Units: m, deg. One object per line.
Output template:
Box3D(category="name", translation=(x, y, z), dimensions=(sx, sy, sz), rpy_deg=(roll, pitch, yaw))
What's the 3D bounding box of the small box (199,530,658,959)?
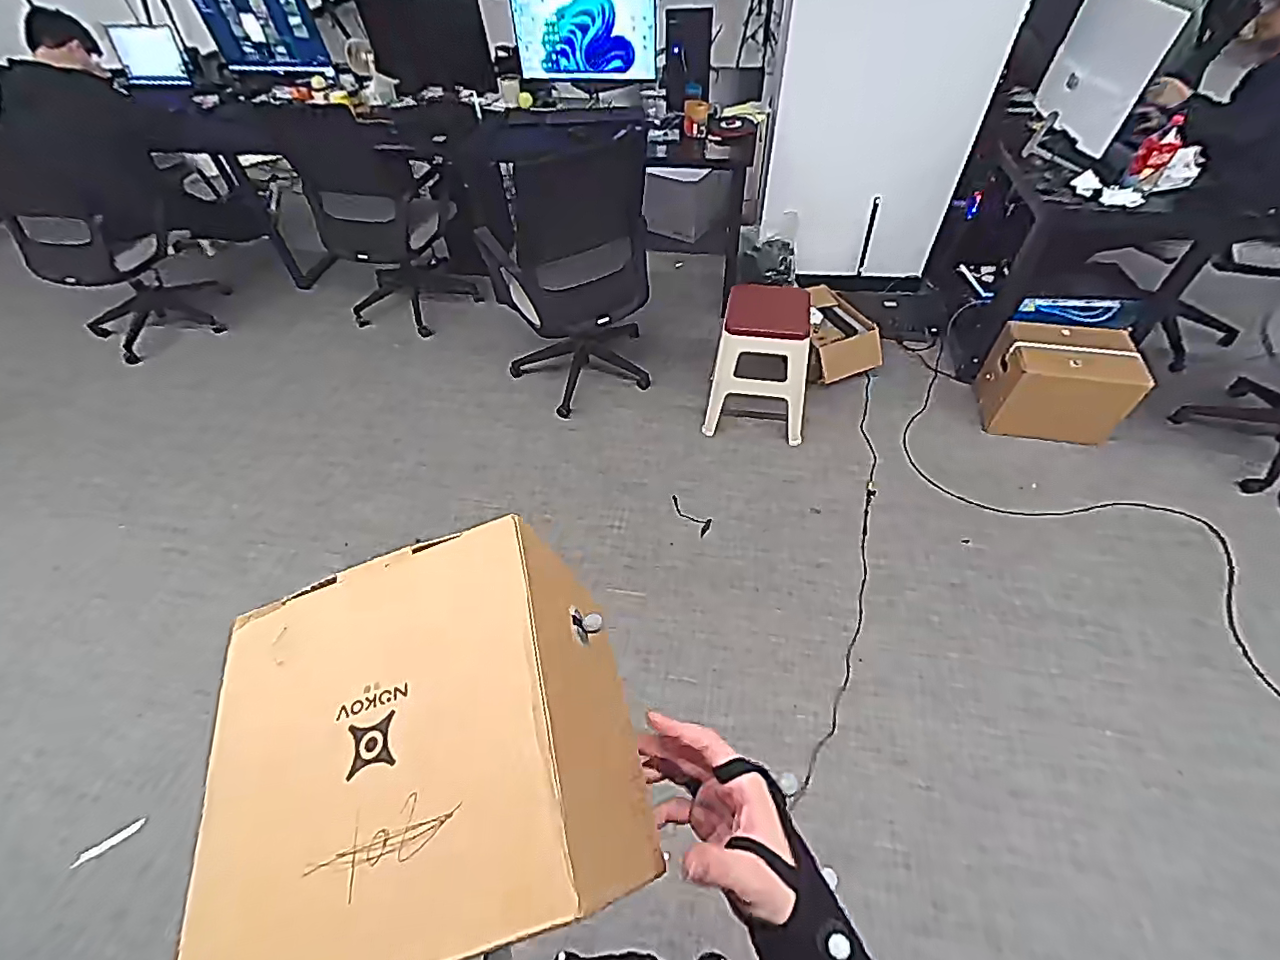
Box3D(category="small box", translation=(-0.101, 0.161, 0.320), dimensions=(0.168, 0.176, 0.179), rpy_deg=(-21, 57, 3))
